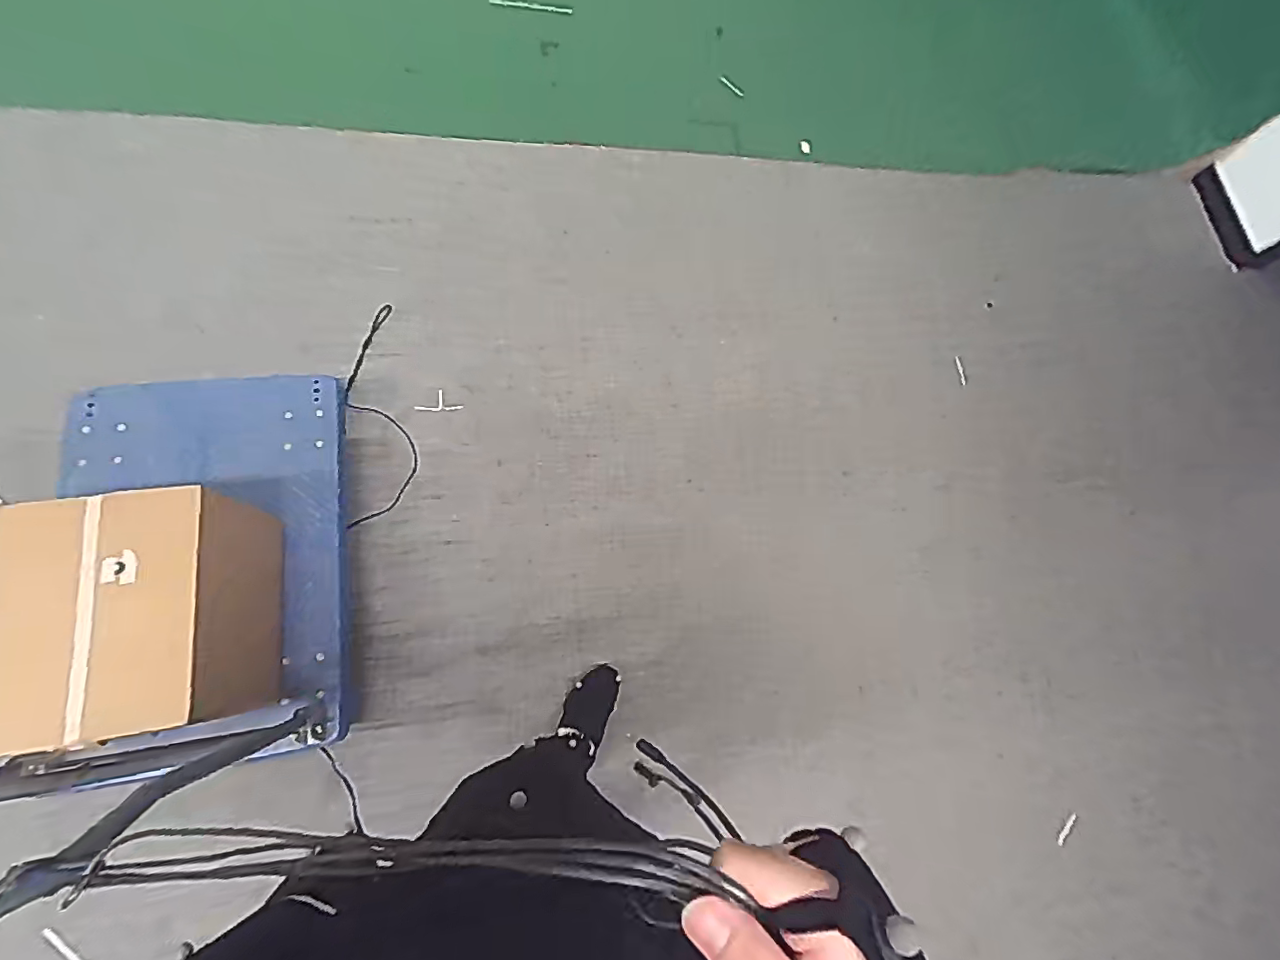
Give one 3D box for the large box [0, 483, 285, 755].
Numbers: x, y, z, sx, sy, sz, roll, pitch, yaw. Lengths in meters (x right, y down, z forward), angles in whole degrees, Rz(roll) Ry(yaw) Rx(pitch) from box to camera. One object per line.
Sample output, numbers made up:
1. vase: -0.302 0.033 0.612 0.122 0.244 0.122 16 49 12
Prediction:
1. large box: -0.913 0.255 1.027 0.320 0.320 0.408 -6 74 -11
